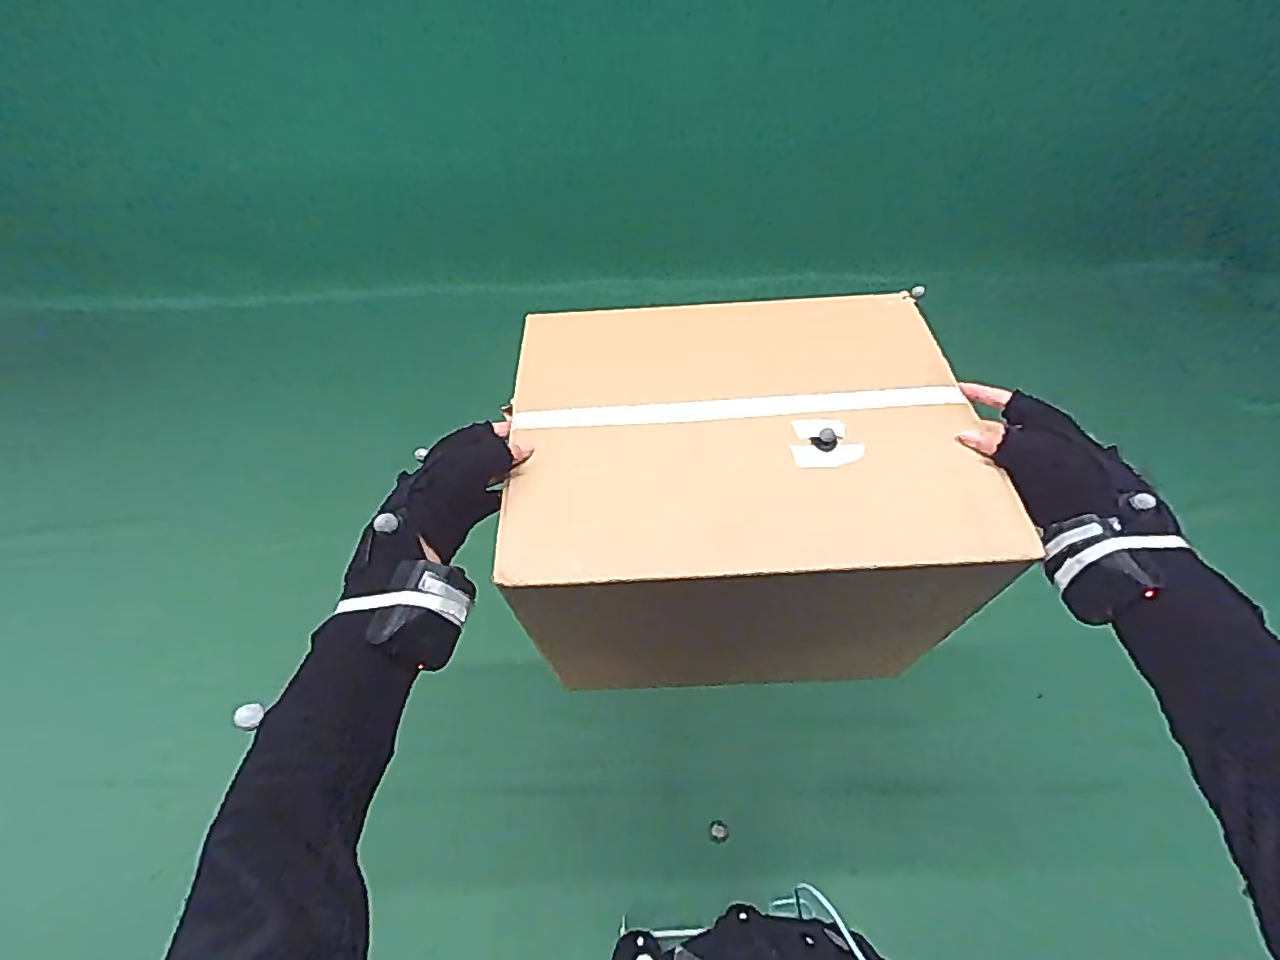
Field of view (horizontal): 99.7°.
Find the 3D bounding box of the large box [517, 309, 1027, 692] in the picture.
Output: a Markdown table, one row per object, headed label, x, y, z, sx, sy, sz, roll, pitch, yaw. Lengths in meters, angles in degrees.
| label | x | y | z | sx | sy | sz | roll | pitch | yaw |
| --- | --- | --- | --- | --- | --- | --- | --- | --- | --- |
| large box | 0.098 | 0.035 | 0.619 | 0.408 | 0.320 | 0.320 | -3 | 55 | 0 |
